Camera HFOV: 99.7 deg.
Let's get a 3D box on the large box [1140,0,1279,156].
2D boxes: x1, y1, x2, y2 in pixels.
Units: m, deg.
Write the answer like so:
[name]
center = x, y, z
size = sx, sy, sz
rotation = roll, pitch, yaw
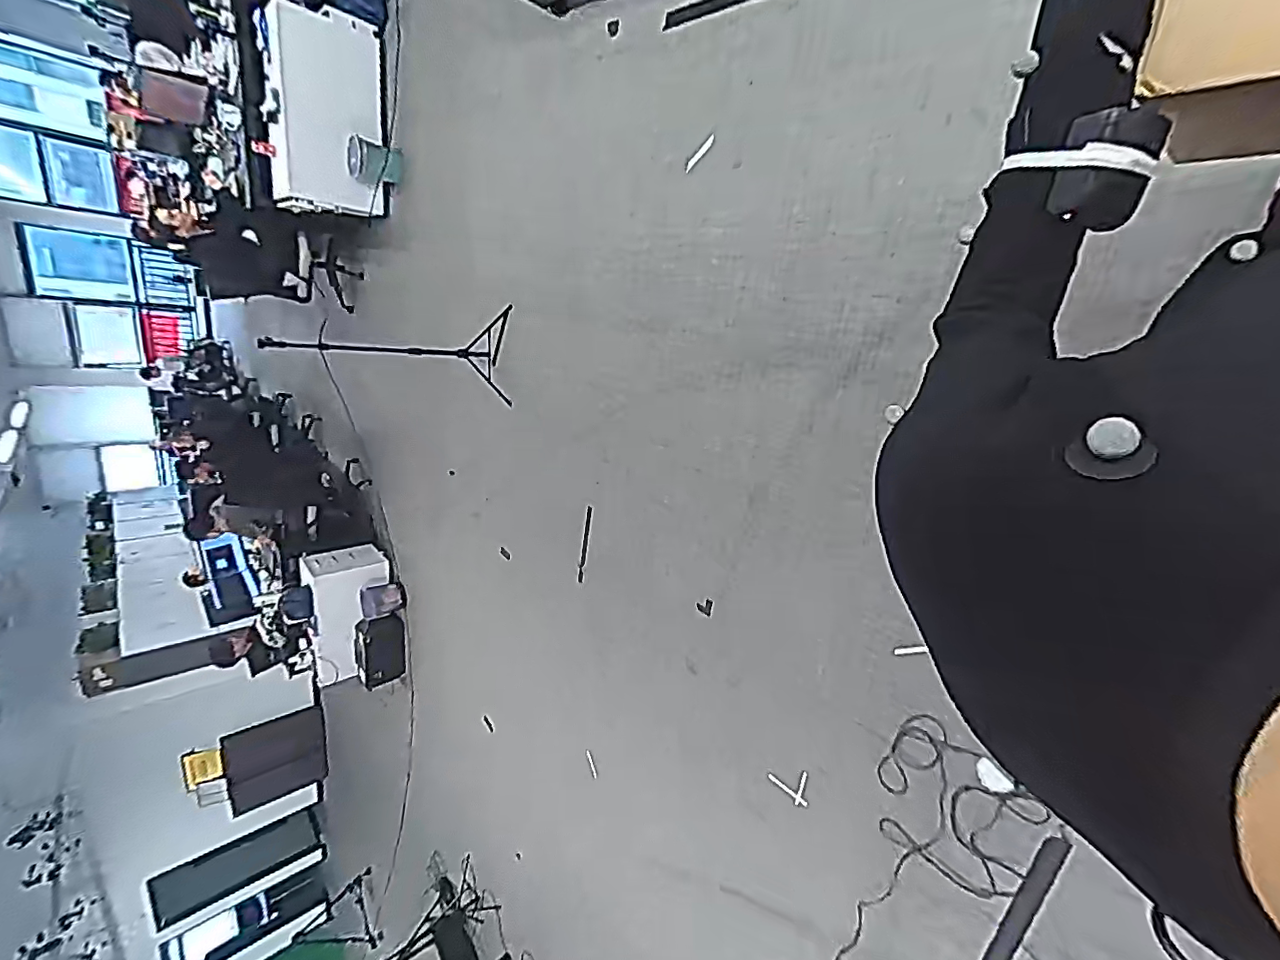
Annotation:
[large box]
center = 0.581, -0.399, 0.284
size = 0.408, 0.320, 0.320
rotation = 19, 119, 43
